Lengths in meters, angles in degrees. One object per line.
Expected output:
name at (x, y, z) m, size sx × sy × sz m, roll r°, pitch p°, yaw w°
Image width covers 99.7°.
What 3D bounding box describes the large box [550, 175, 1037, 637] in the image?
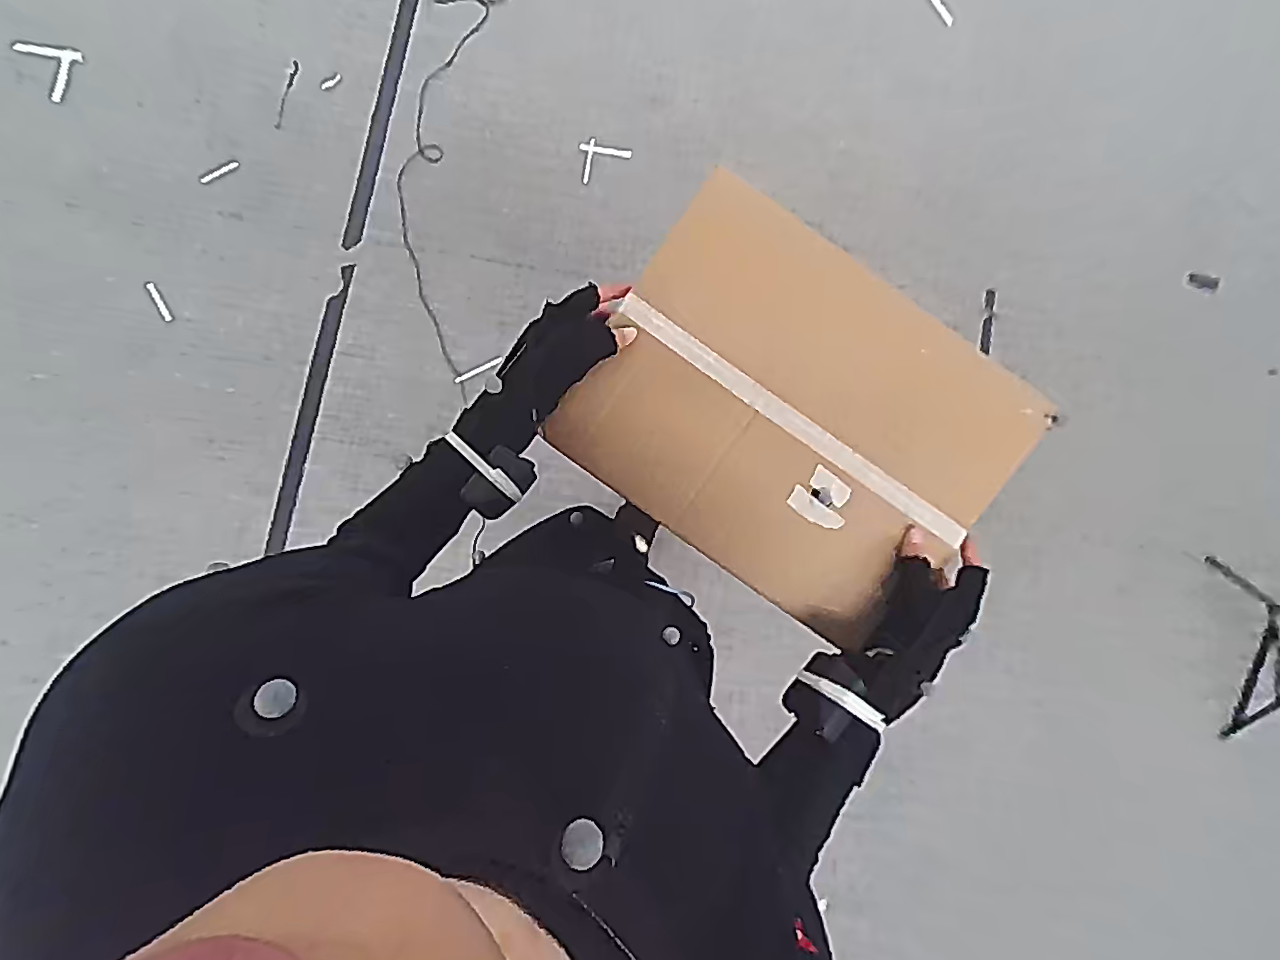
large box at (0.154, -0.080, 0.695) m, size 0.408 × 0.320 × 0.320 m, roll 36°, pitch 95°, yaw -2°
